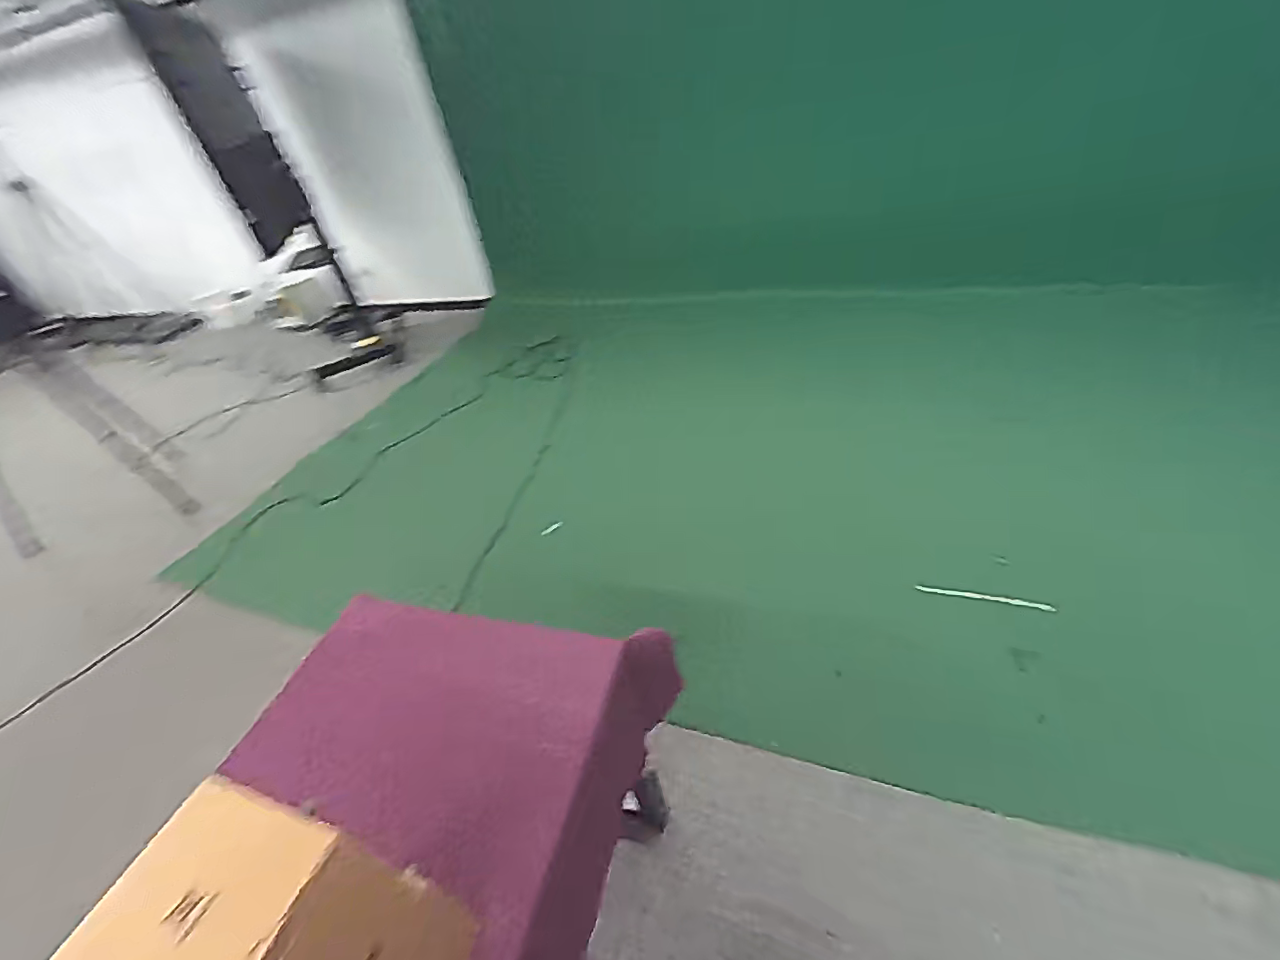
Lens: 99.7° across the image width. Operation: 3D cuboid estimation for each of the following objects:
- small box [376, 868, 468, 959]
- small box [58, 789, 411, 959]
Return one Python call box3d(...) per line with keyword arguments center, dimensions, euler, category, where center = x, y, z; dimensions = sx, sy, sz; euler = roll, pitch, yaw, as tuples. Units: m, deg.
box3d(center=(-0.310, 0.540, 0.580), dimensions=(0.168, 0.176, 0.179), euler=(4, 40, 20), category="small box")
box3d(center=(-0.348, 0.415, 0.481), dimensions=(0.179, 0.176, 0.168), euler=(5, 42, 20), category="small box")
